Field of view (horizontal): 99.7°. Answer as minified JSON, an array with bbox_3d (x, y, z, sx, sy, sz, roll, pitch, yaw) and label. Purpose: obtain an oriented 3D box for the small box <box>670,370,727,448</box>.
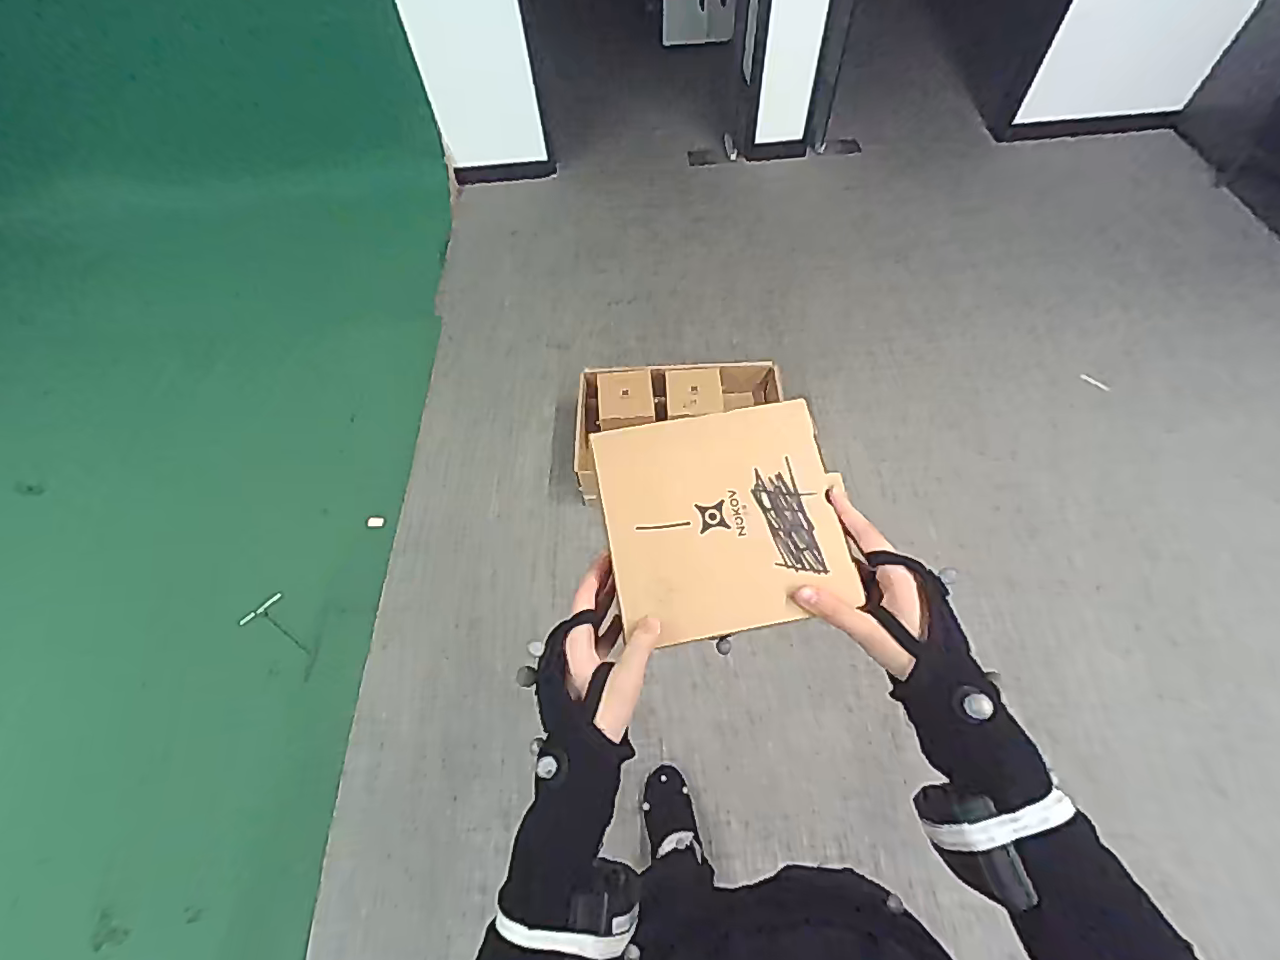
[{"bbox_3d":[0.177,-0.217,1.671,0.168,0.176,0.179,-3,60,4],"label":"small box"}]
